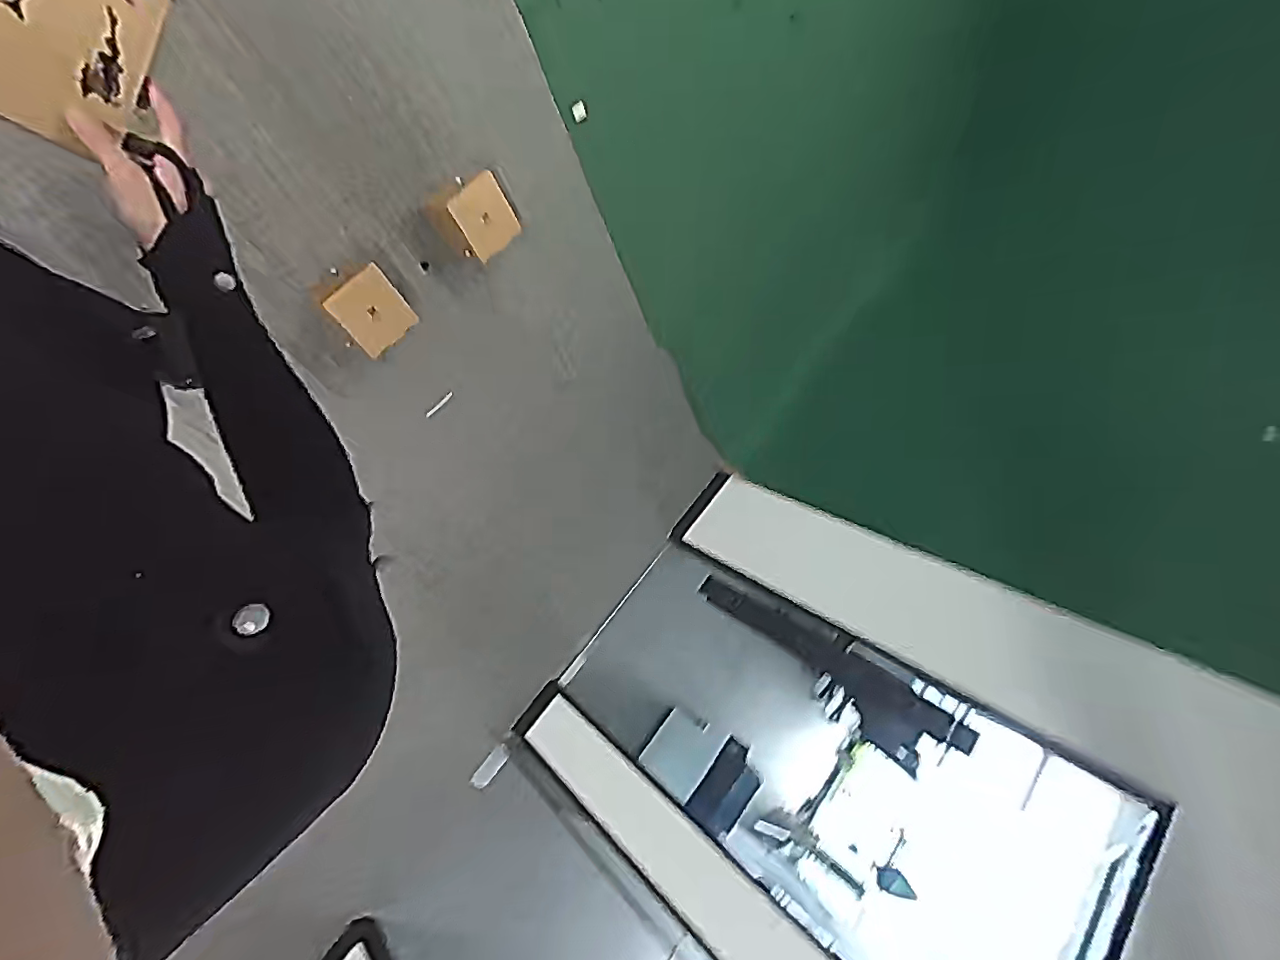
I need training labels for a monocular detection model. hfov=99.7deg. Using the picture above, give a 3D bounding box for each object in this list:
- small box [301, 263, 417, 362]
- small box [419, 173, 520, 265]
[{"bbox_3d":[-0.727,-0.439,1.400,0.168,0.176,0.179,-50,139,-18],"label":"small box"},{"bbox_3d":[-0.481,-0.731,1.518,0.168,0.176,0.179,-50,140,-18],"label":"small box"}]
